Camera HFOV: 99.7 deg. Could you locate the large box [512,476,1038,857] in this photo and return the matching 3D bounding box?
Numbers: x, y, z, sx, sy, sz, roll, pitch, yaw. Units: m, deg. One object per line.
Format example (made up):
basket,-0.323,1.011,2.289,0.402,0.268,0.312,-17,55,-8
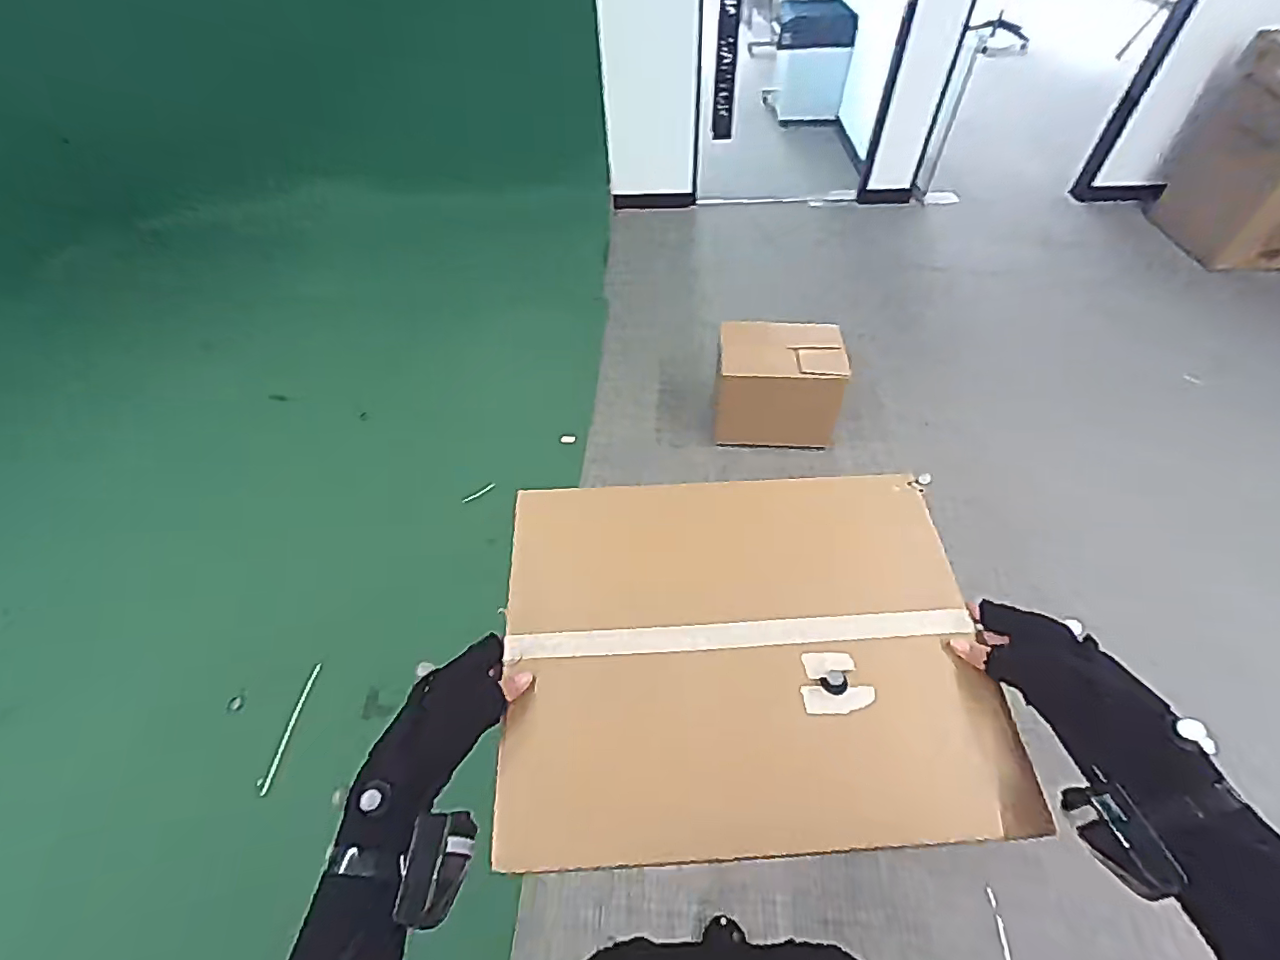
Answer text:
large box,0.091,0.213,0.600,0.408,0.320,0.320,-1,57,-3
